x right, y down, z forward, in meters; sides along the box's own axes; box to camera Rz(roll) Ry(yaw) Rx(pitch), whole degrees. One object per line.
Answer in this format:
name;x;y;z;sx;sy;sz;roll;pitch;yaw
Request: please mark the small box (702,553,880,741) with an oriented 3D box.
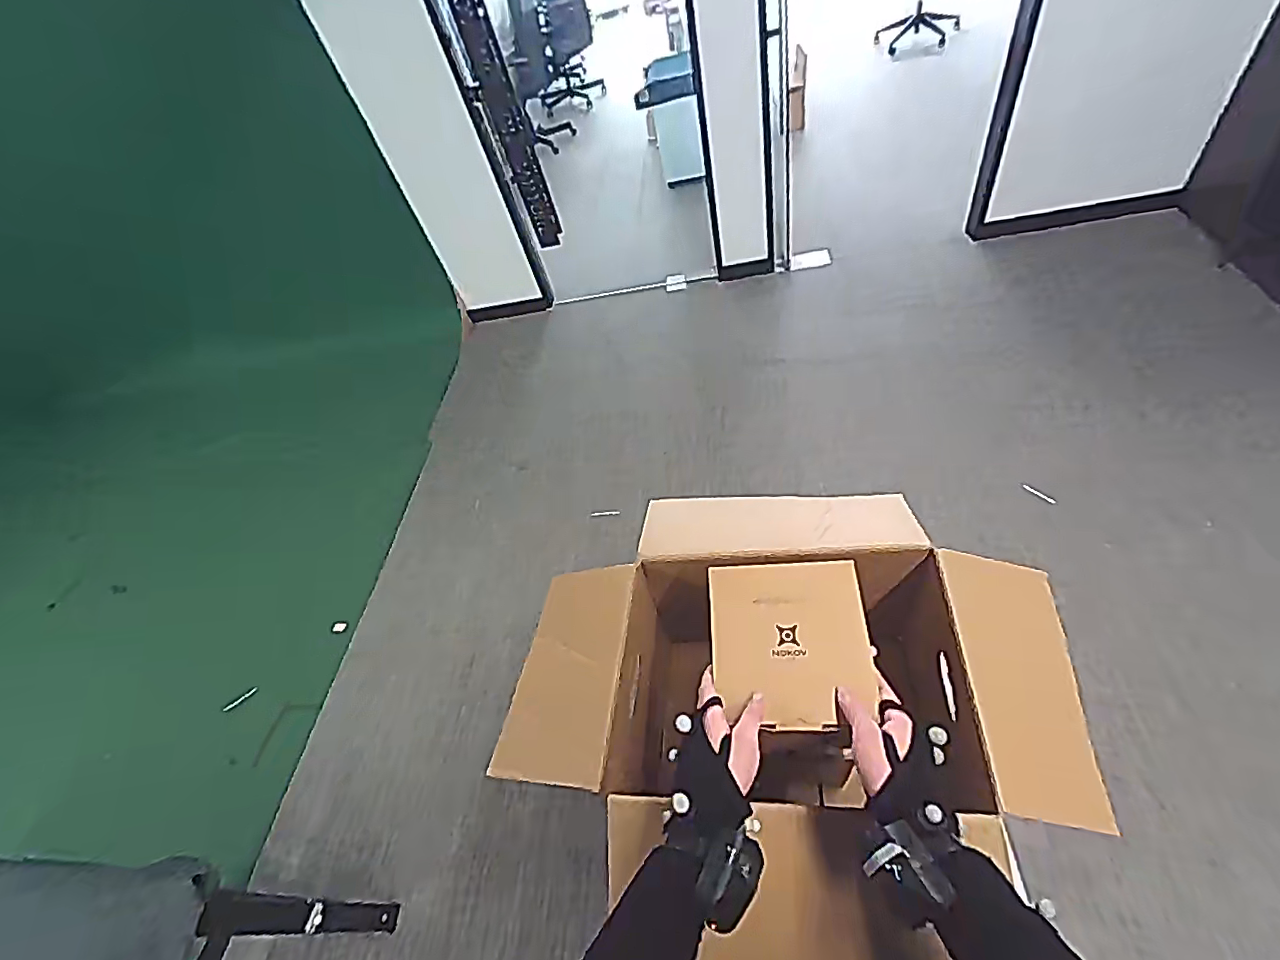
small box;0.165;0.203;0.634;0.168;0.176;0.179;-5;56;8
